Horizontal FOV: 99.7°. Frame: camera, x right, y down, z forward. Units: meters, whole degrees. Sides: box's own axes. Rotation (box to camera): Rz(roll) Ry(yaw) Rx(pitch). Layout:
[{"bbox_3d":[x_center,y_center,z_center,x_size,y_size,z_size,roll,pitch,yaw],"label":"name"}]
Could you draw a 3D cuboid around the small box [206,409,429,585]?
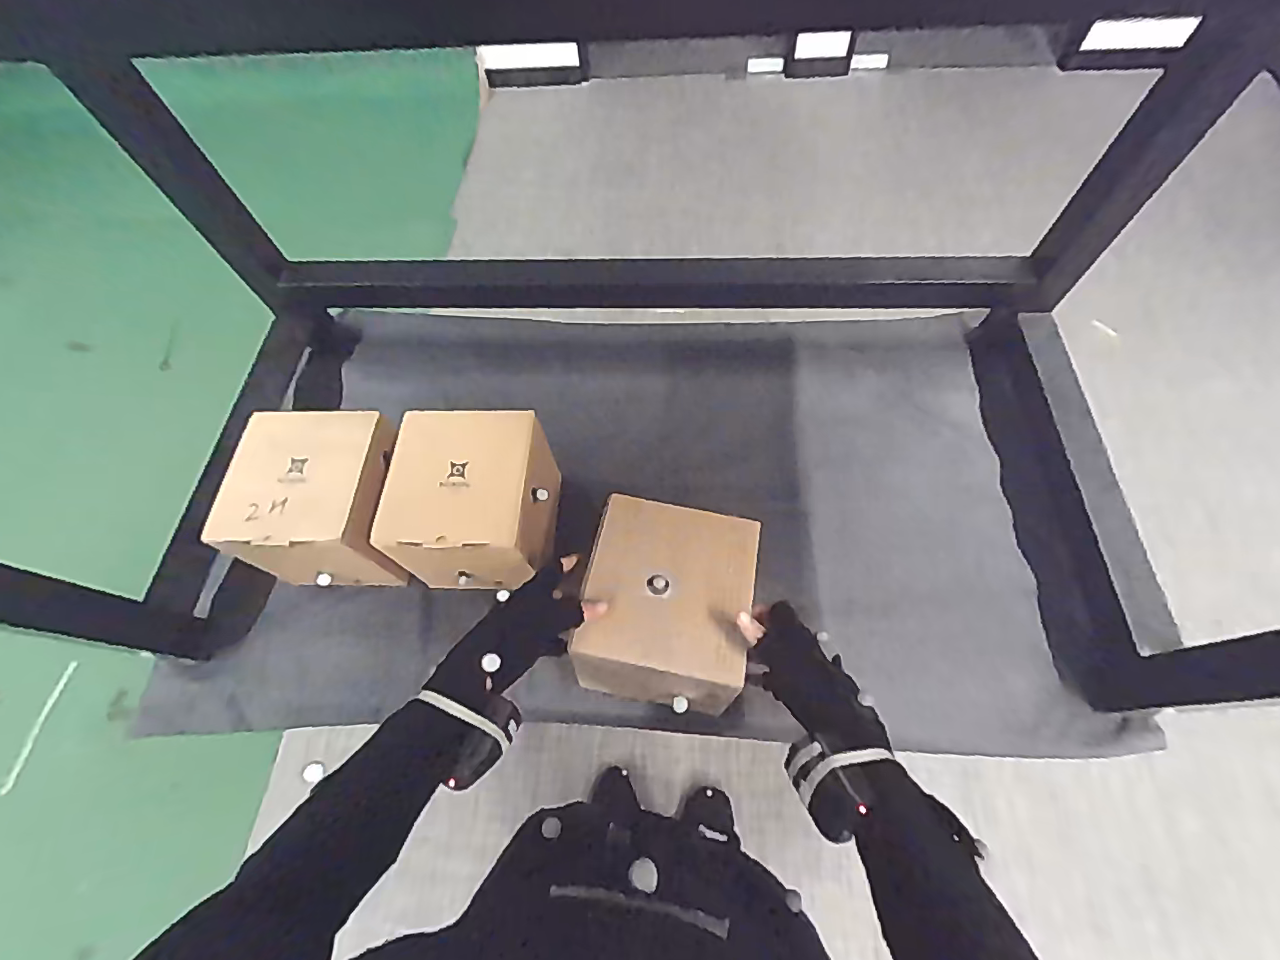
[{"bbox_3d":[-0.396,0.026,0.705,0.168,0.176,0.179,0,63,4],"label":"small box"}]
